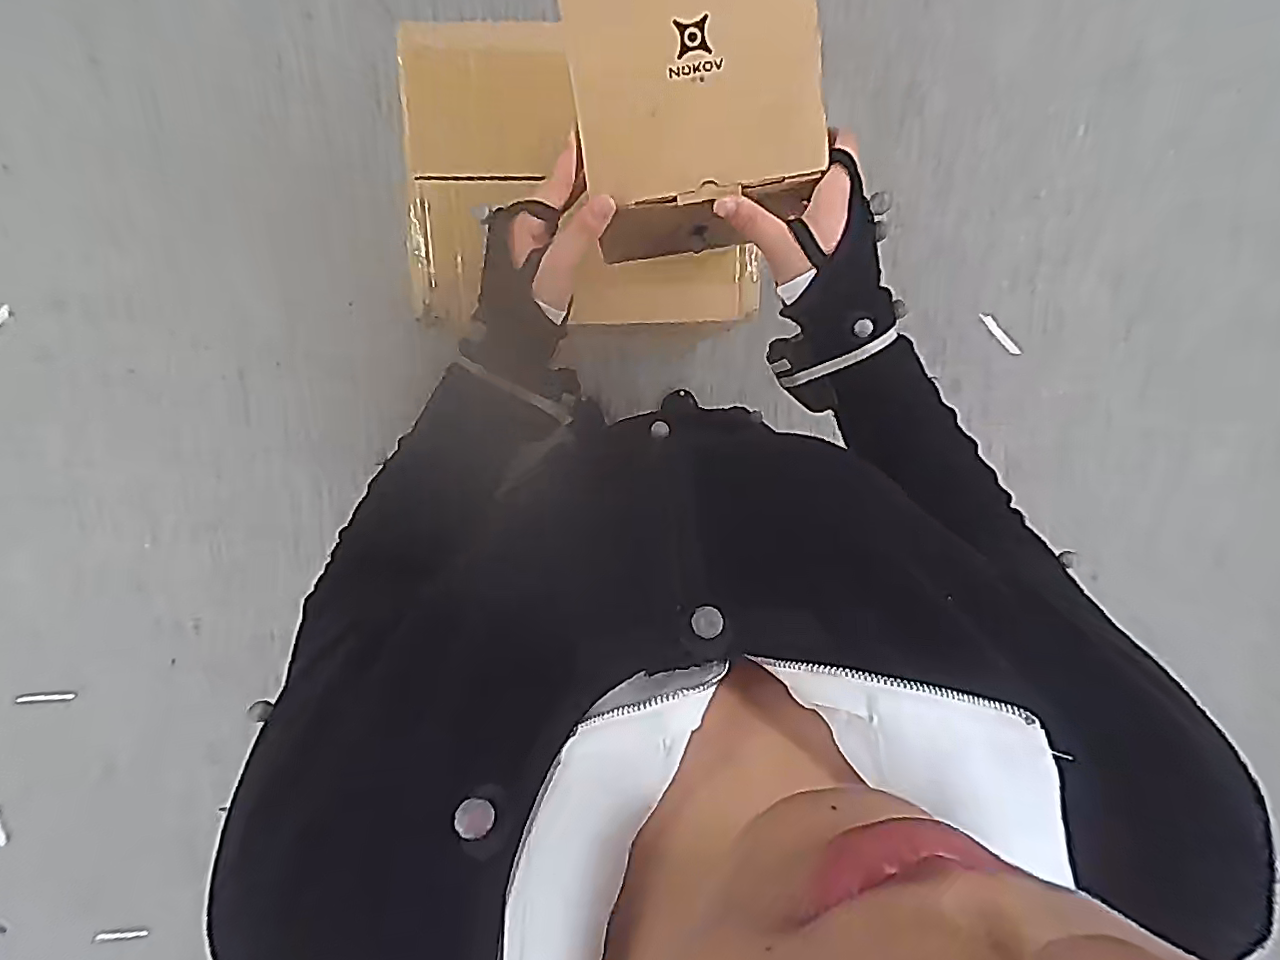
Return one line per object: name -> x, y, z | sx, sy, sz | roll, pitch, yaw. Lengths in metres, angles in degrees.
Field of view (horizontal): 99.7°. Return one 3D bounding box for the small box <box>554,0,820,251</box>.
small box -> 0.033, -0.295, 0.435 | 0.168, 0.176, 0.179 | -9, 101, 2
